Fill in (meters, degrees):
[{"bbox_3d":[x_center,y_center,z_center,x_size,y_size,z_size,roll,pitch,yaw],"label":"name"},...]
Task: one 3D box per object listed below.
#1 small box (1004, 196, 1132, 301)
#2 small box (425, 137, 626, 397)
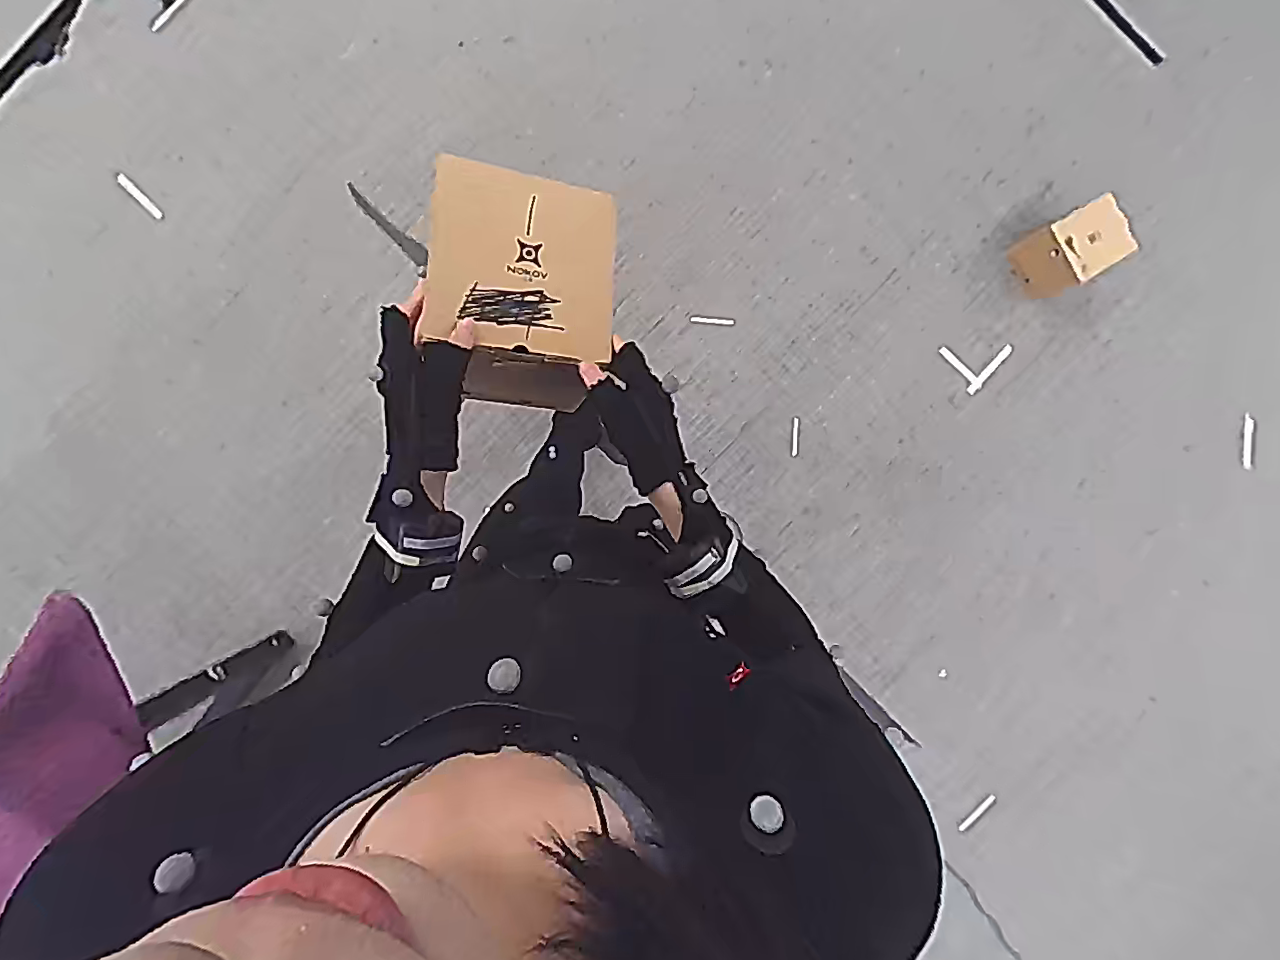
[{"bbox_3d":[1.135,-0.610,1.446,0.179,0.176,0.168,-31,93,-1],"label":"small box"},{"bbox_3d":[-0.120,-0.196,0.556,0.168,0.176,0.179,6,80,-18],"label":"small box"}]
